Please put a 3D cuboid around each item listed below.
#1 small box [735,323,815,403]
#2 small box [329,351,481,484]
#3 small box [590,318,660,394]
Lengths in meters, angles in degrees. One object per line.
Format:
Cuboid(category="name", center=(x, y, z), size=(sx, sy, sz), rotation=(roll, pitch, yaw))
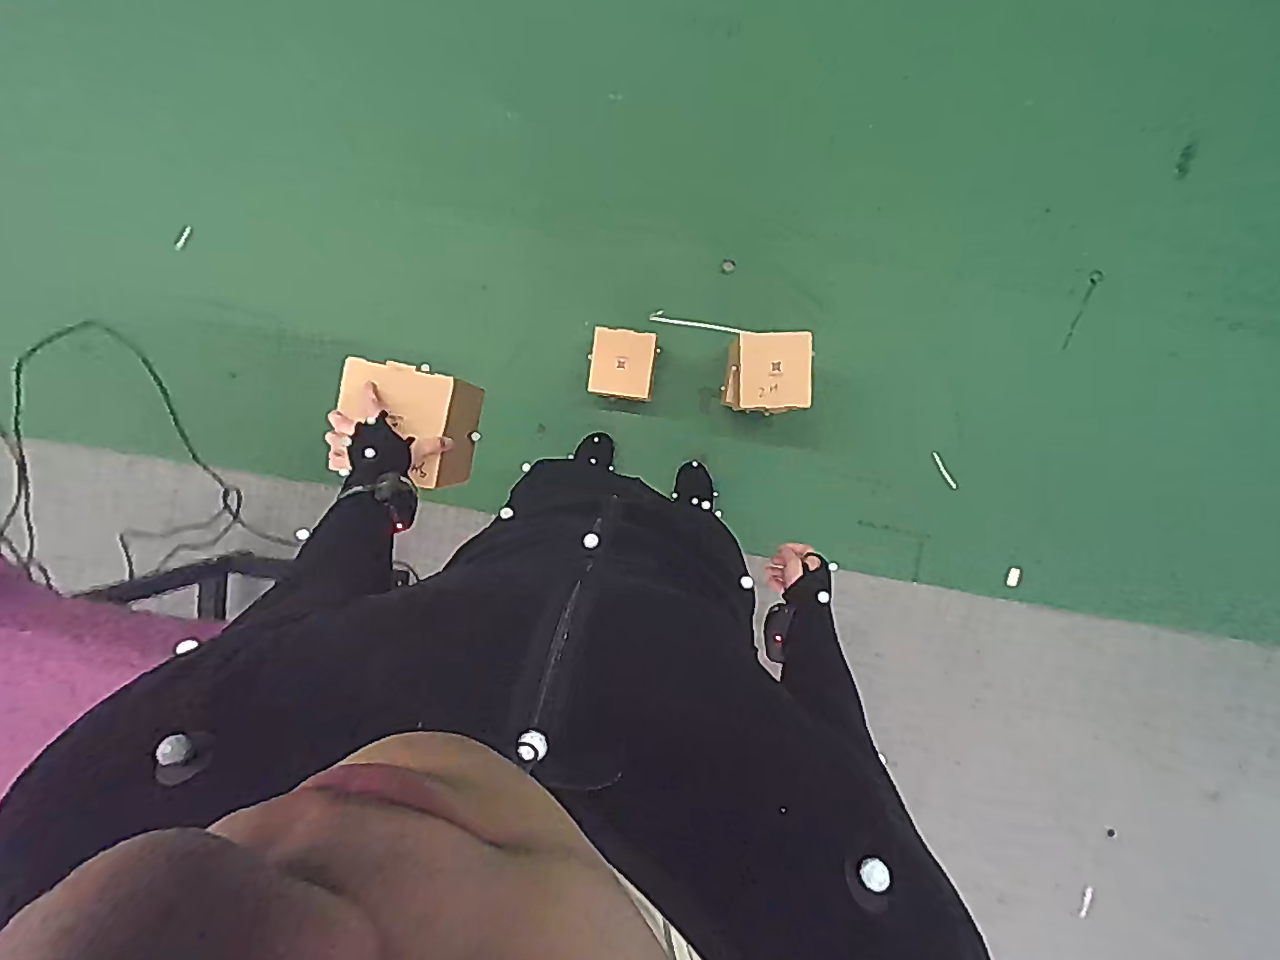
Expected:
Cuboid(category="small box", center=(0.324, -0.280, 1.325), size=(0.168, 0.176, 0.179), rotation=(0, 97, 5))
Cuboid(category="small box", center=(-0.375, -0.099, 0.894), size=(0.168, 0.176, 0.179), rotation=(11, 94, -1))
Cuboid(category="small box", center=(-0.036, -0.340, 1.514), size=(0.168, 0.176, 0.179), rotation=(8, 96, 4))
